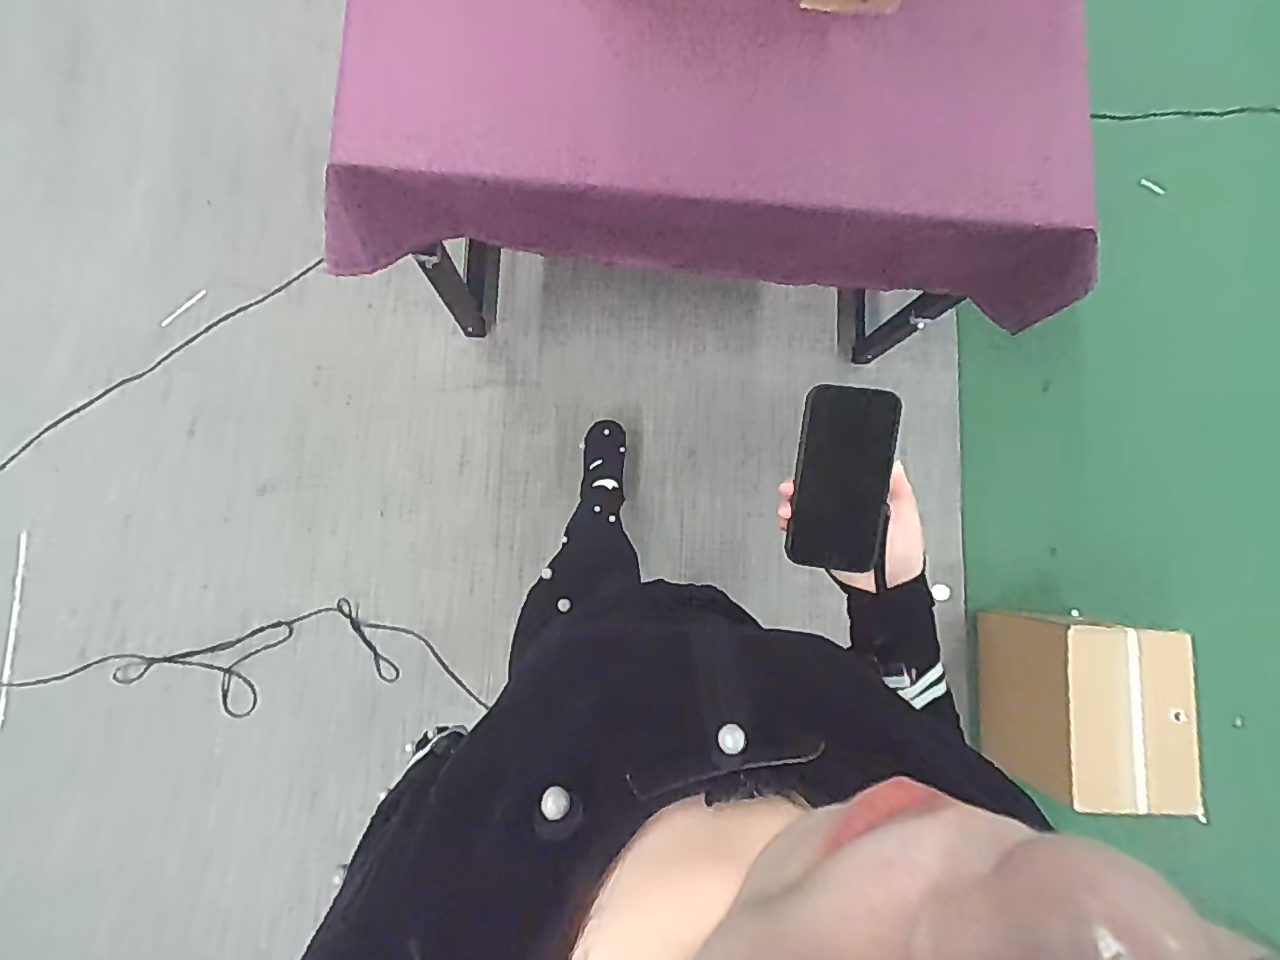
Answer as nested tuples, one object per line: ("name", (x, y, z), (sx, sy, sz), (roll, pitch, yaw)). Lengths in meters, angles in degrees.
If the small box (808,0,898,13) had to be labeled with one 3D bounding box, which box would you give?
("small box", (0.347, -0.868, 0.816), (0.168, 0.176, 0.179), (1, 85, -4))
